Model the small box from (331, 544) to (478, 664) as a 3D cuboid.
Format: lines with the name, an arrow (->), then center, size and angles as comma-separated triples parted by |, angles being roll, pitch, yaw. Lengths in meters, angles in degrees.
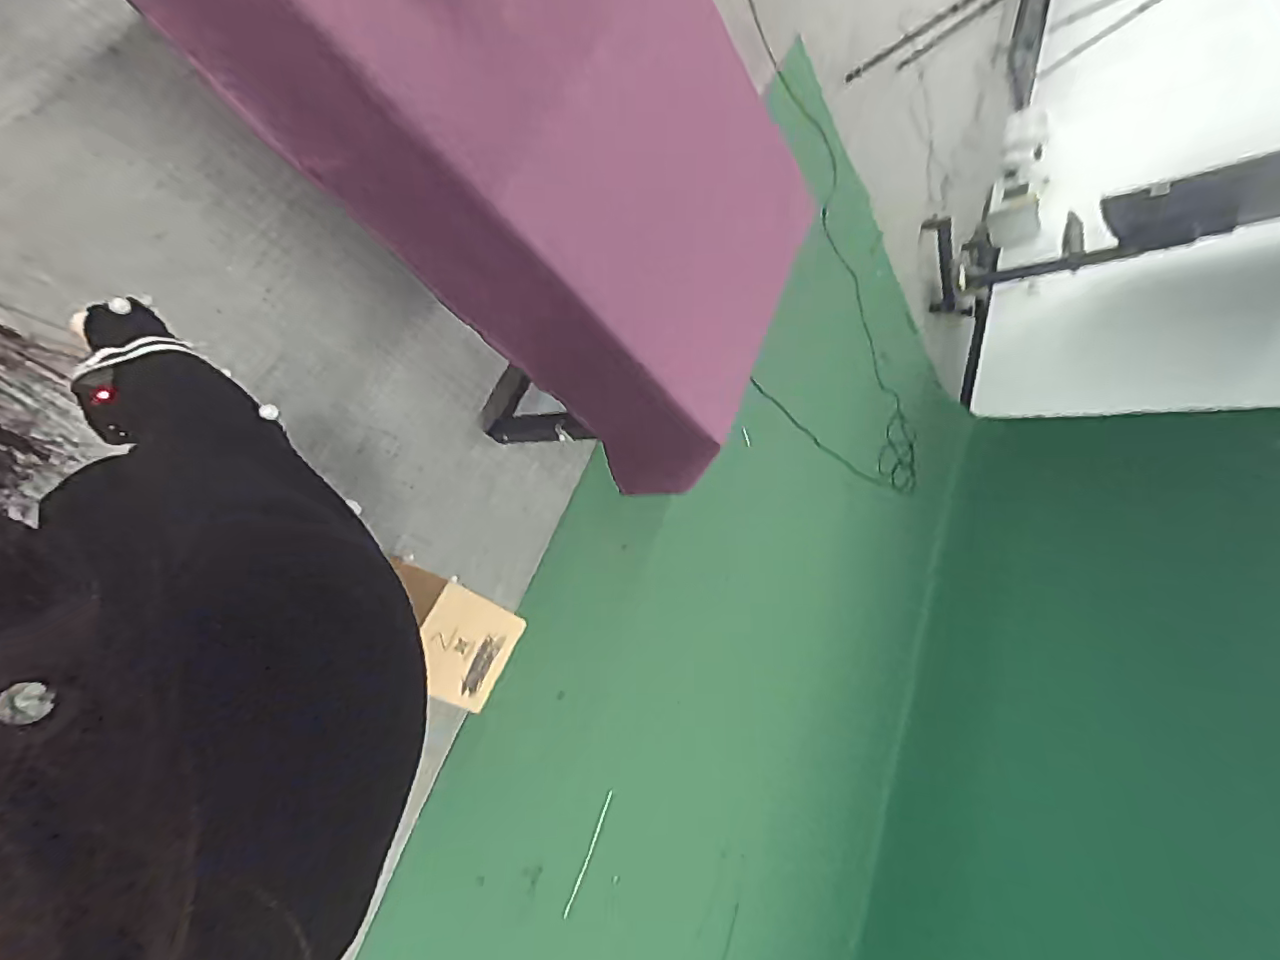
small box -> -0.461, 0.235, 1.055 | 0.179, 0.176, 0.168 | 41, 65, -39
